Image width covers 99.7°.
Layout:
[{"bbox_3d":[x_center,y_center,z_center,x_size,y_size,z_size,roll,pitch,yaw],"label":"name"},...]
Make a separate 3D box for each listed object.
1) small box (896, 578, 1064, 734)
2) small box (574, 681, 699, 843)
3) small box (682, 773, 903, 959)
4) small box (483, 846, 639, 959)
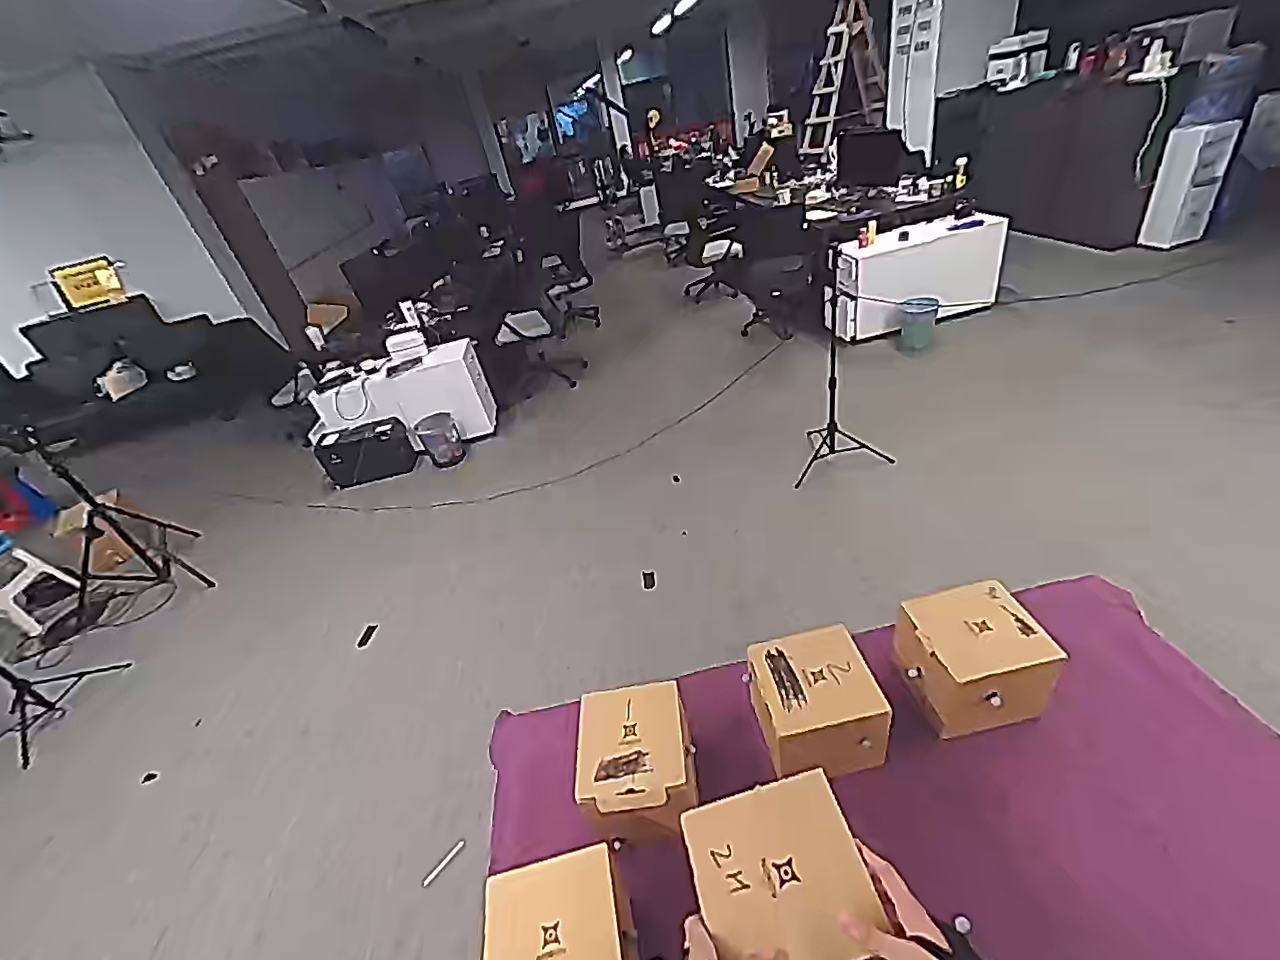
[{"bbox_3d":[0.554,0.298,0.910,0.179,0.176,0.168,-15,37,1],"label":"small box"},{"bbox_3d":[-0.002,0.461,0.877,0.168,0.176,0.179,-10,34,4],"label":"small box"},{"bbox_3d":[0.162,0.463,0.604,0.179,0.176,0.168,-19,40,1],"label":"small box"},{"bbox_3d":[-0.093,0.615,0.686,0.168,0.176,0.179,-15,35,-4],"label":"small box"}]
